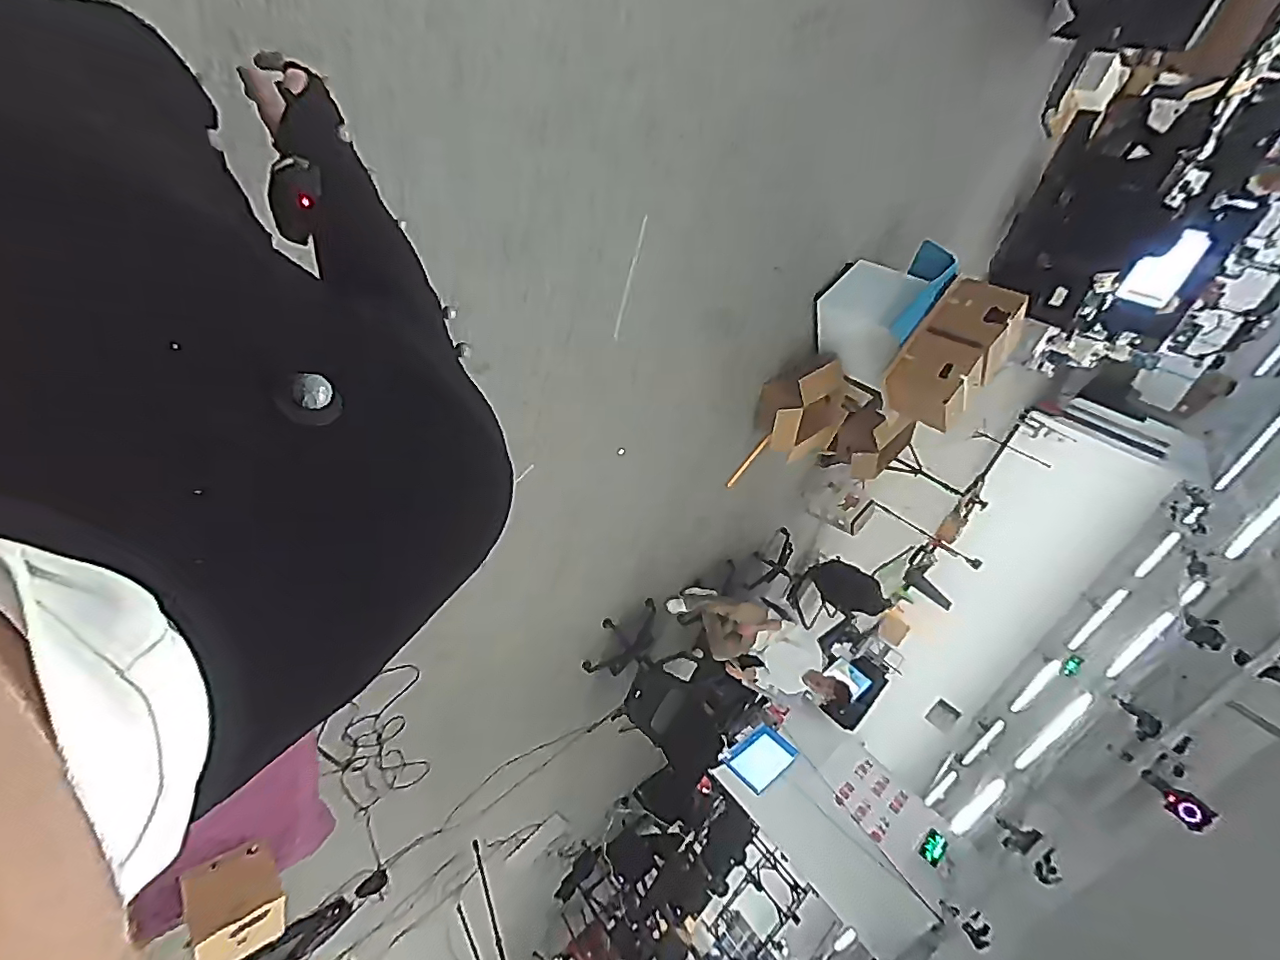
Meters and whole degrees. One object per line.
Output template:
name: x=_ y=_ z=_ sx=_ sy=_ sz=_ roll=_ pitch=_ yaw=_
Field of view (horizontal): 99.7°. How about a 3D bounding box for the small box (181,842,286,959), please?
small box: x=-0.938 y=0.983 z=1.248 sx=0.168 sy=0.176 sz=0.179 roll=-9 pitch=127 yaw=-45
